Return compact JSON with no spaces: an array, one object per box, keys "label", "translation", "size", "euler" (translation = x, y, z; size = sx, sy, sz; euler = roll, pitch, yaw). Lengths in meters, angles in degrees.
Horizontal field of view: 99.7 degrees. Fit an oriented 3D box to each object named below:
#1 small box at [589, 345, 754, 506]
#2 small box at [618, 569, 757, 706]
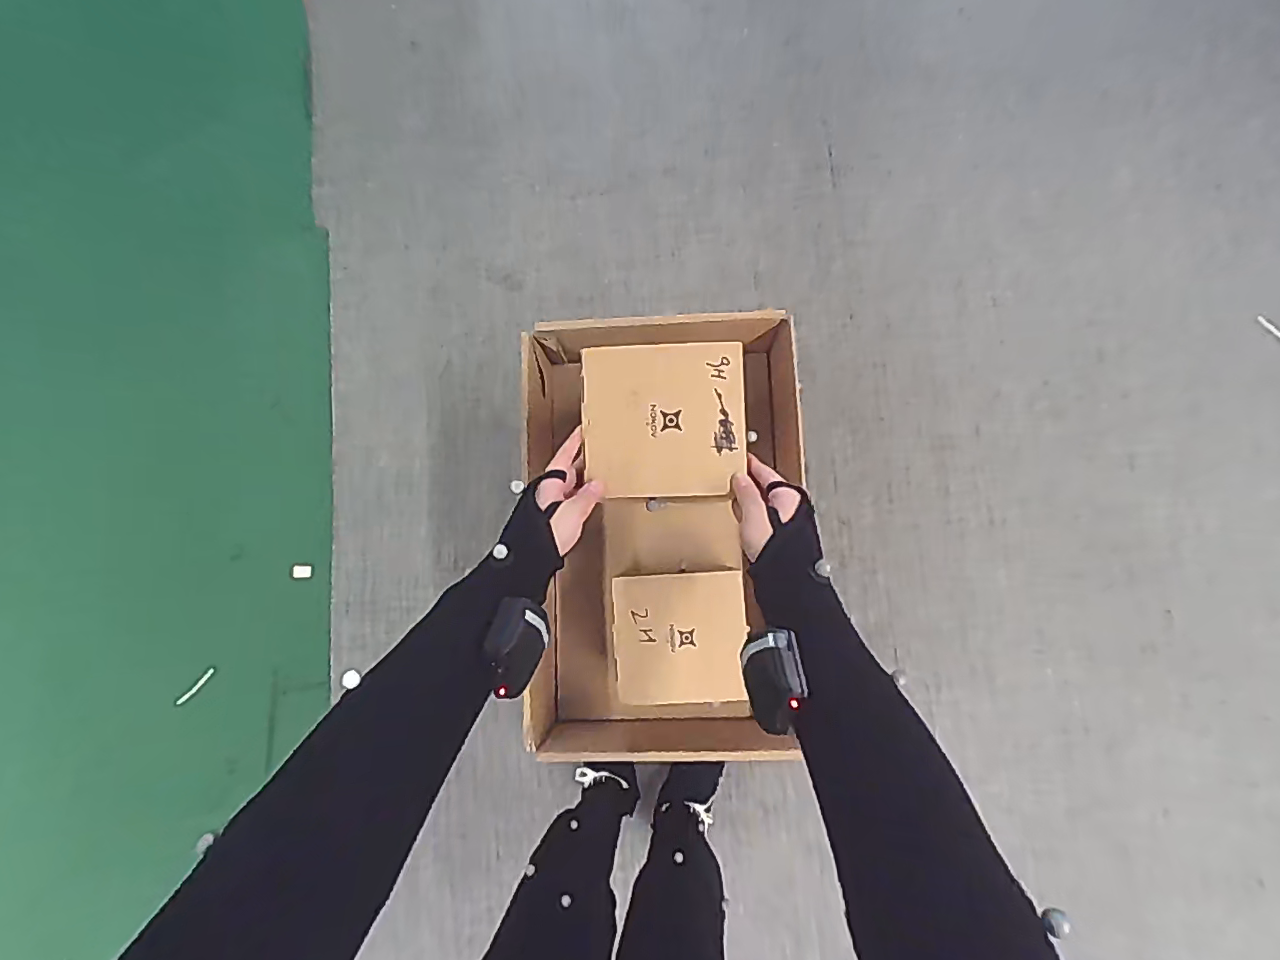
[{"label":"small box","translation":[0.038,-0.055,0.654],"size":[0.179,0.176,0.168],"euler":[-1,85,3]},{"label":"small box","translation":[0.063,0.216,0.778],"size":[0.179,0.176,0.168],"euler":[-3,82,3]}]
